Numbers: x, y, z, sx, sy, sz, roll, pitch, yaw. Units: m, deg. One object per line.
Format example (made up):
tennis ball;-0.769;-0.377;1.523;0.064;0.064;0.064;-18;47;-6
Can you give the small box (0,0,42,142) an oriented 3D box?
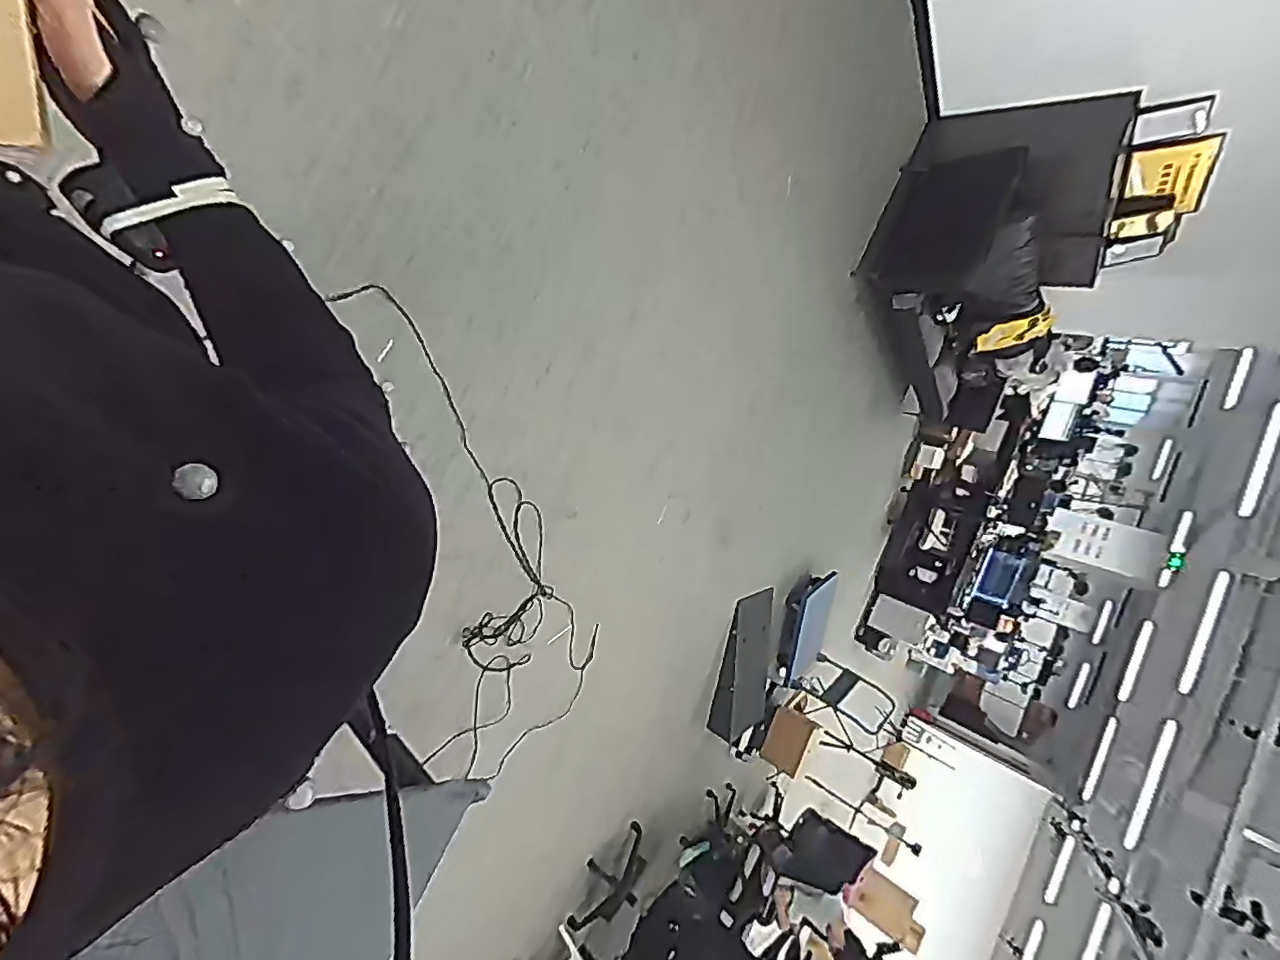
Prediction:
small box;-0.409;-0.288;0.248;0.168;0.176;0.179;-7;125;-43
